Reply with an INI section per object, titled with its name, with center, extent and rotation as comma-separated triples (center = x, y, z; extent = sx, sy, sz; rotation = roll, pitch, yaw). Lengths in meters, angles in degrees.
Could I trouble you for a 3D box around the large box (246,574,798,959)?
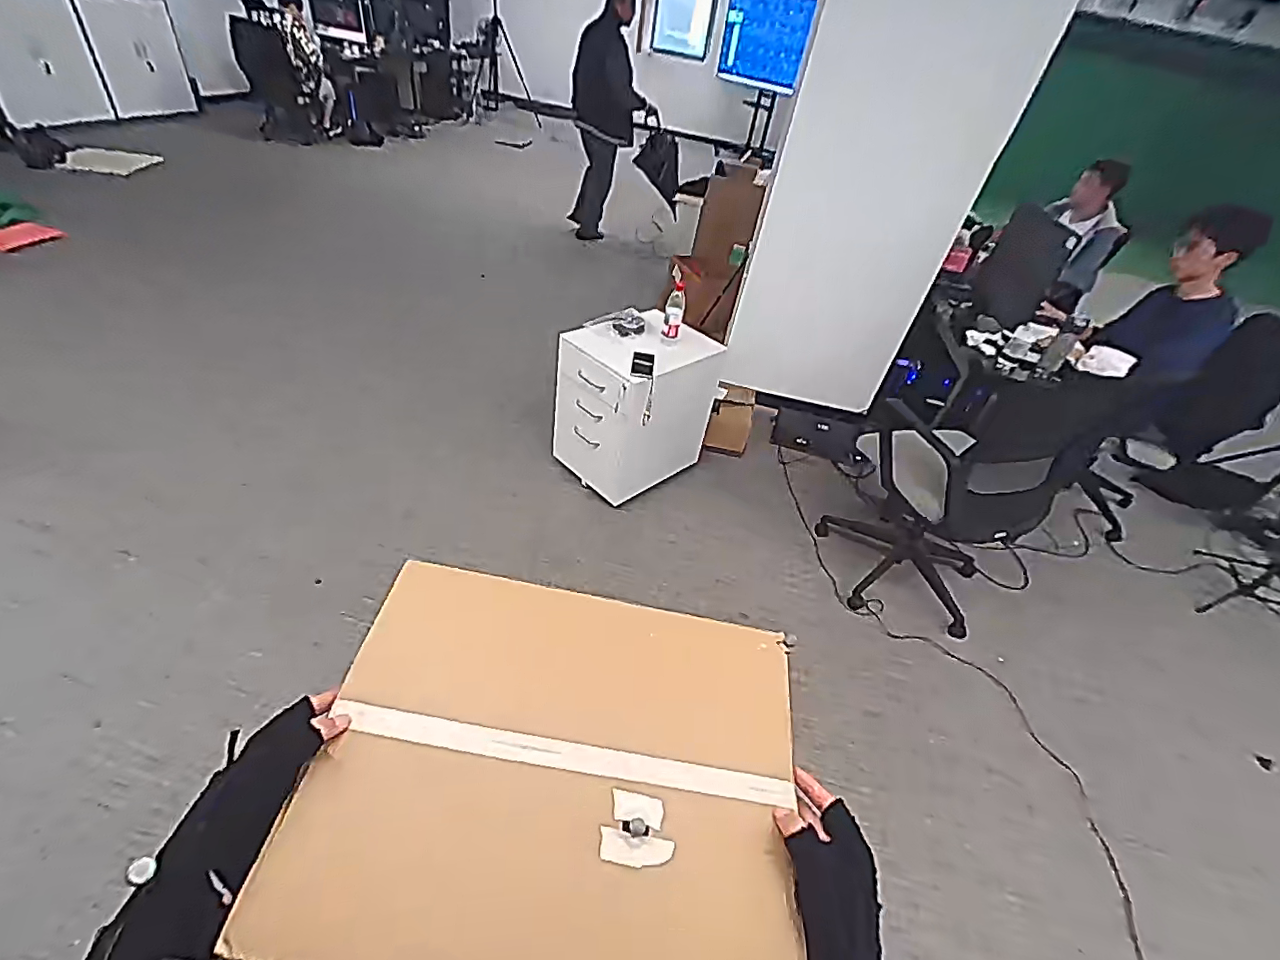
[large box]
center = -0.088, 0.343, 0.587
extent = 0.408, 0.320, 0.320
rotation = 12, 48, -3
